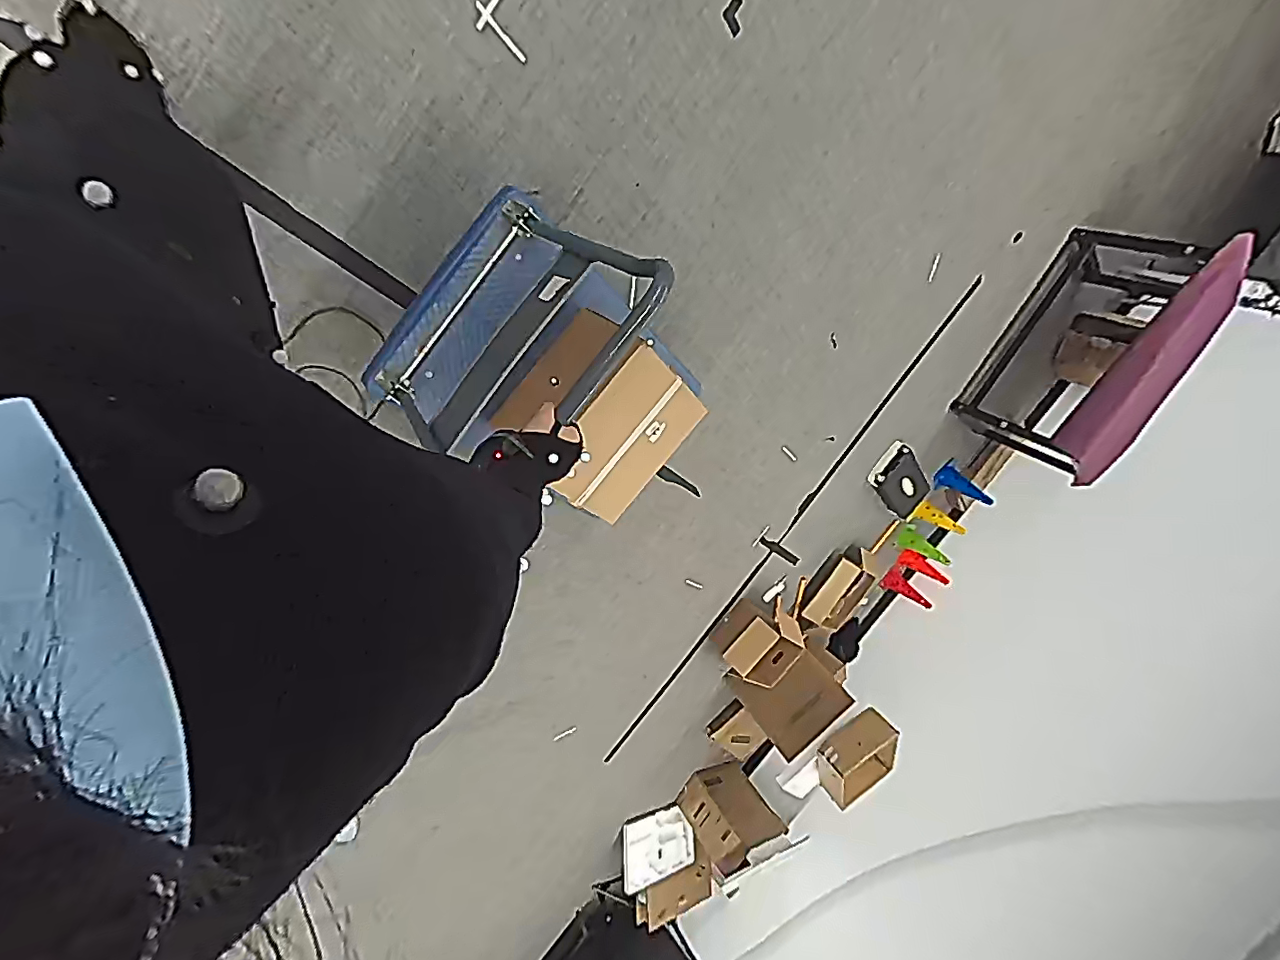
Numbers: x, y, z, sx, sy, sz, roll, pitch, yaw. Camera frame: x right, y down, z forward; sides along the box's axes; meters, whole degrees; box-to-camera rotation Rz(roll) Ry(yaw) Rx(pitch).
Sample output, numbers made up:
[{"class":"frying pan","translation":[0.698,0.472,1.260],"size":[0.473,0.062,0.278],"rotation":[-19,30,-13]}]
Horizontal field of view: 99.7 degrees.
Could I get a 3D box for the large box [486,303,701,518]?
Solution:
[{"class":"large box","translation":[-0.125,-0.181,1.416],"size":[0.408,0.320,0.320],"rotation":[-51,137,2]}]
